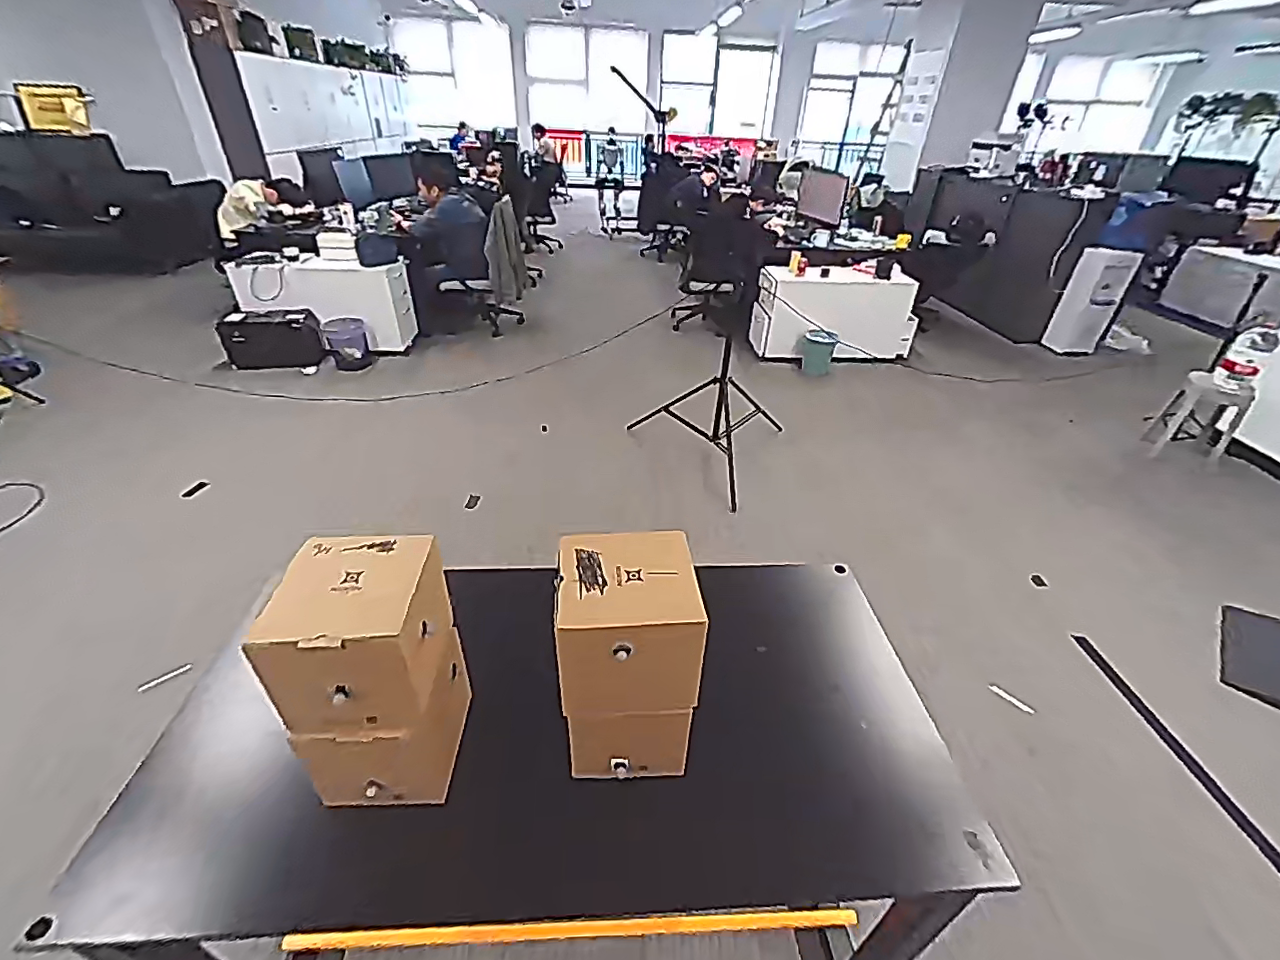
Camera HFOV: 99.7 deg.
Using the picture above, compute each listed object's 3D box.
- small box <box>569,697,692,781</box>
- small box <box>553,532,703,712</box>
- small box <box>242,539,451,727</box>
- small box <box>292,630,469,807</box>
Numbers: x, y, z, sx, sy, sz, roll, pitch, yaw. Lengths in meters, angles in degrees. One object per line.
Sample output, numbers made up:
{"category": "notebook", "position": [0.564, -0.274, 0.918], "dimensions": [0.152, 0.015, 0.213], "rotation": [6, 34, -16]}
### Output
{"category": "small box", "position": [-0.019, 0.324, 0.820], "dimensions": [0.168, 0.176, 0.179], "rotation": [-2, 35, -4]}
{"category": "small box", "position": [-0.020, 0.189, 0.725], "dimensions": [0.179, 0.176, 0.168], "rotation": [-2, 34, -5]}
{"category": "small box", "position": [-0.351, 0.197, 0.693], "dimensions": [0.168, 0.176, 0.179], "rotation": [-1, 35, -5]}
{"category": "small box", "position": [-0.353, 0.338, 0.778], "dimensions": [0.168, 0.176, 0.179], "rotation": [0, 34, -2]}
